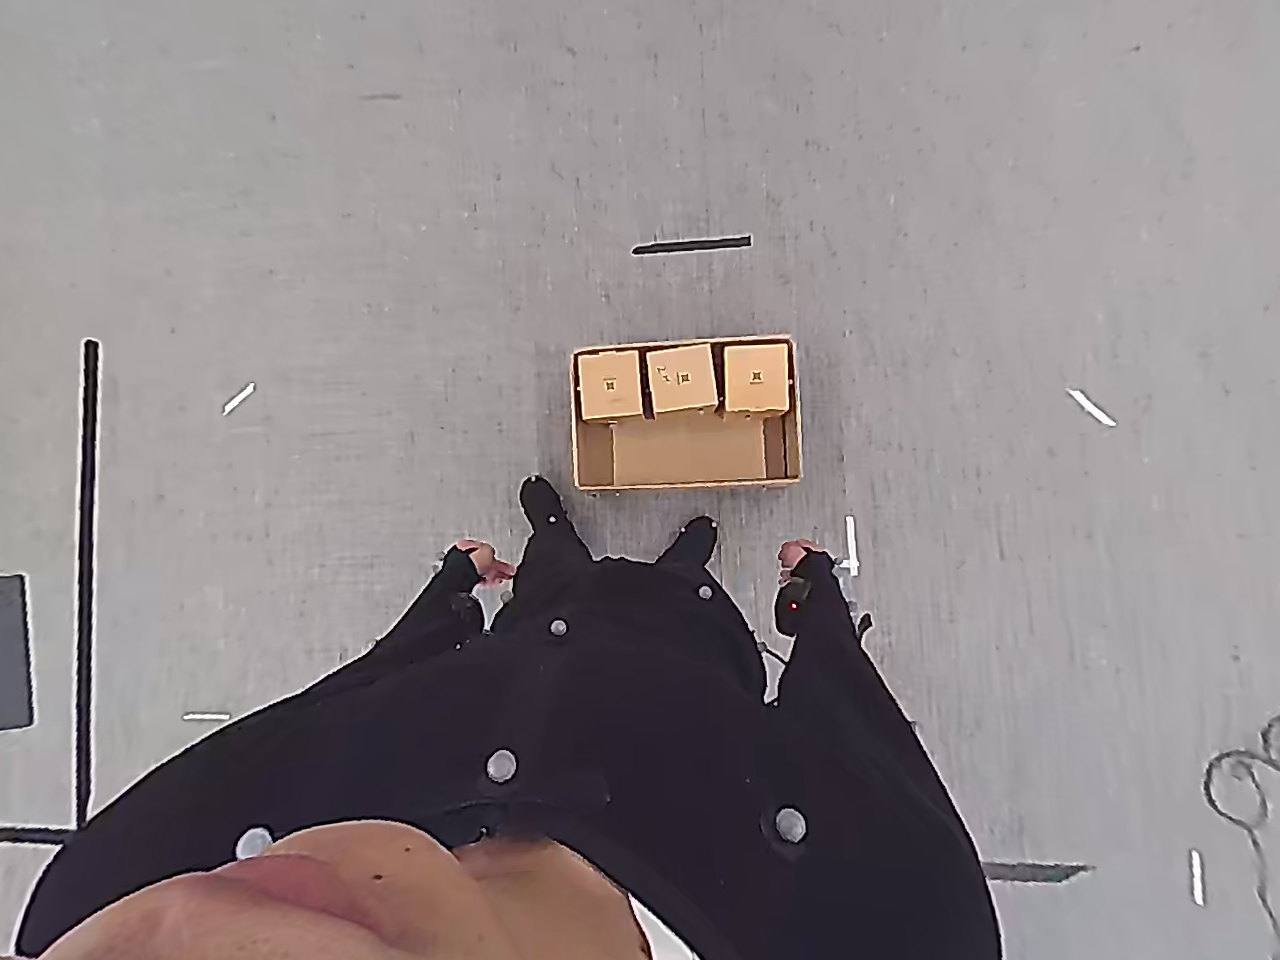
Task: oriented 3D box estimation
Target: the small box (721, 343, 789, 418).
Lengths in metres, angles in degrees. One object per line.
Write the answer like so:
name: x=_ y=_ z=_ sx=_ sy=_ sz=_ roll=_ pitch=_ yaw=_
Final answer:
small box: x=0.314 y=-0.272 z=1.503 sx=0.168 sy=0.176 sz=0.179 roll=-2 pitch=90 yaw=5
